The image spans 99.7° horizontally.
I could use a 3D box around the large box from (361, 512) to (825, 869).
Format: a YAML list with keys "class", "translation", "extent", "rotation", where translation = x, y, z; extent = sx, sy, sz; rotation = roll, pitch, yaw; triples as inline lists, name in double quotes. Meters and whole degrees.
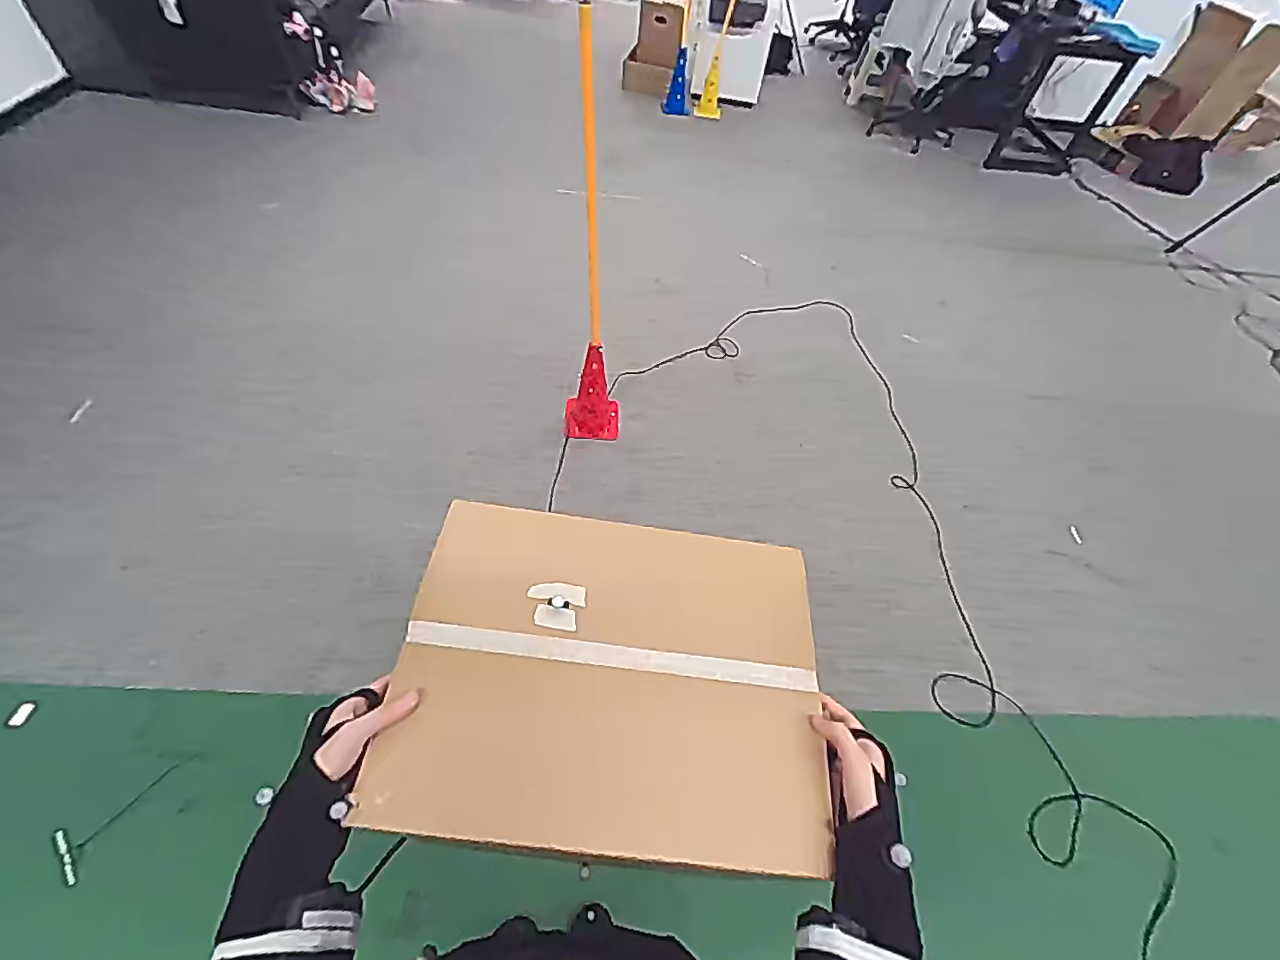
- class: "large box"
  translation: [-0.040, 0.269, 0.663]
  extent: [0.408, 0.320, 0.320]
  rotation: [8, 53, -3]
